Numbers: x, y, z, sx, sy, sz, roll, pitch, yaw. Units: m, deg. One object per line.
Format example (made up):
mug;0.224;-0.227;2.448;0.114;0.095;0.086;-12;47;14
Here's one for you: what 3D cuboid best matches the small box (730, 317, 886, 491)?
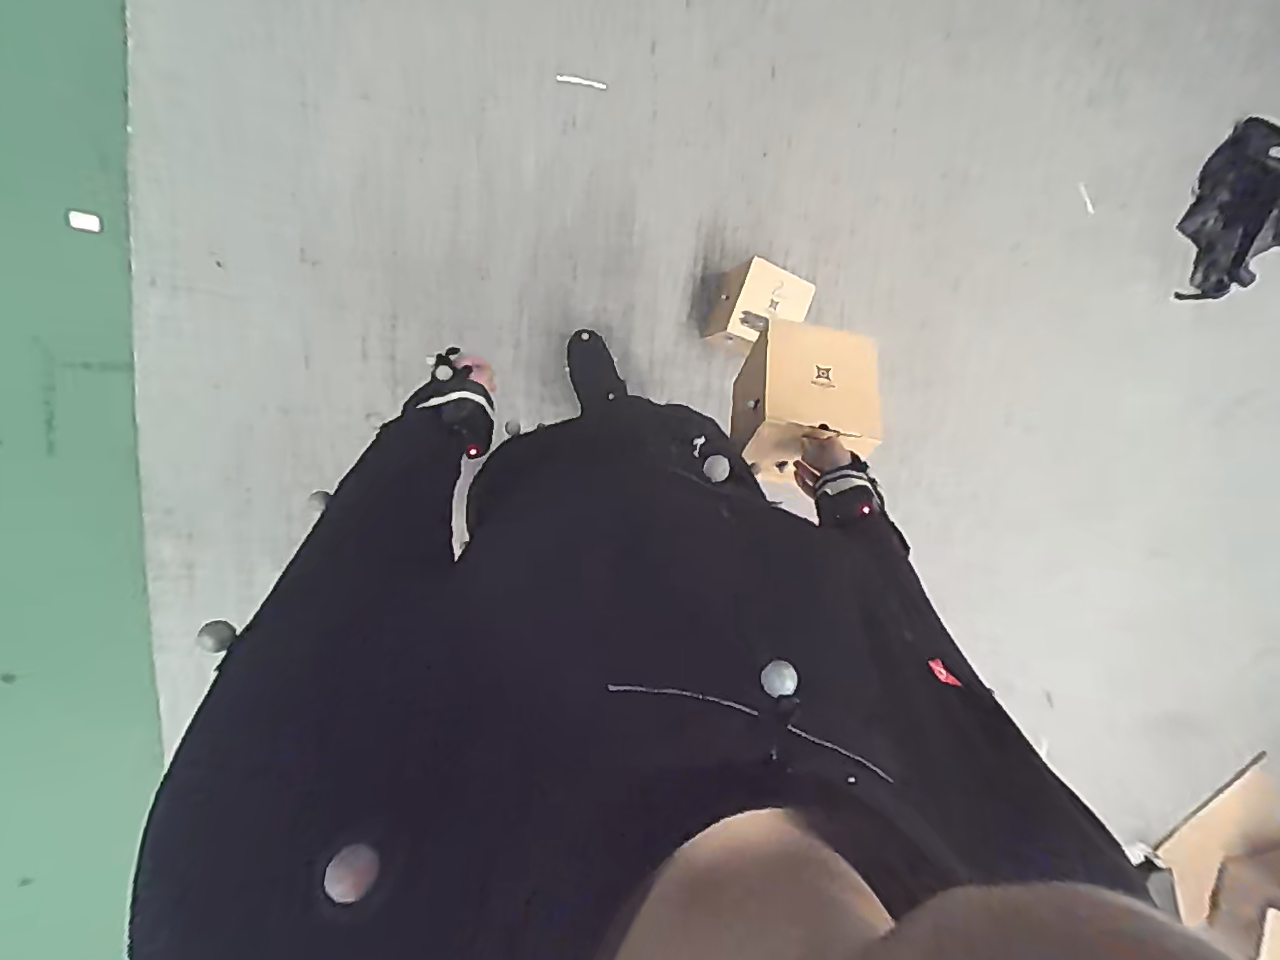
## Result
small box;0.237;-0.105;0.799;0.168;0.176;0.179;10;65;-4
